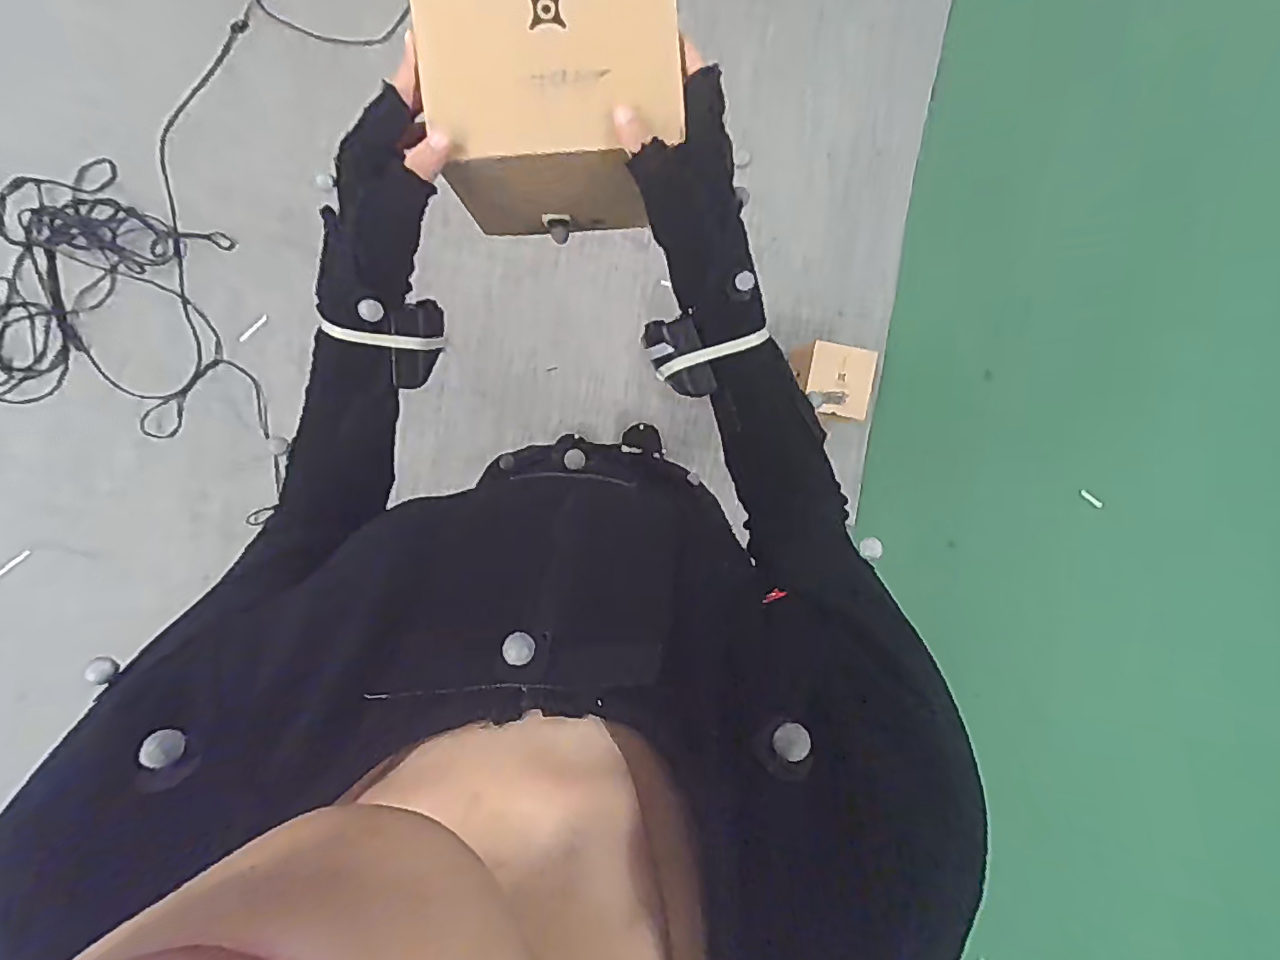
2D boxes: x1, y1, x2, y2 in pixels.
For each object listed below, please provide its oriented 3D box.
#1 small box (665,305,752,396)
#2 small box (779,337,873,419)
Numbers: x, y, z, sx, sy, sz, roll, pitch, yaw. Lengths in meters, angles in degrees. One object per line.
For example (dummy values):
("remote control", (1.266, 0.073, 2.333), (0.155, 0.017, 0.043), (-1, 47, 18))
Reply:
("small box", (0.168, -0.325, 1.391), (0.168, 0.176, 0.179), (14, 94, -6))
("small box", (0.480, -0.260, 1.420), (0.168, 0.176, 0.179), (9, 93, -5))
